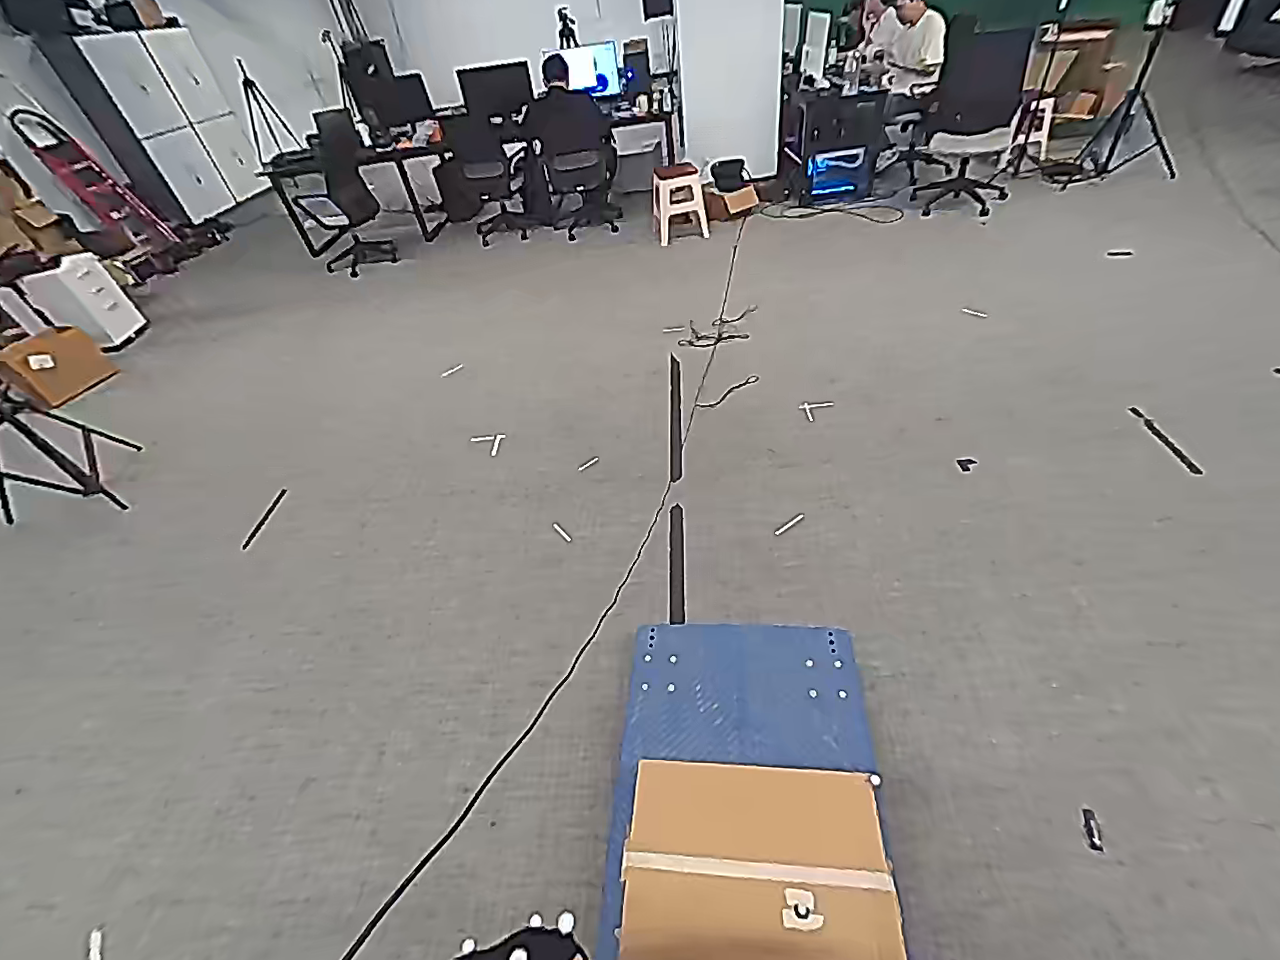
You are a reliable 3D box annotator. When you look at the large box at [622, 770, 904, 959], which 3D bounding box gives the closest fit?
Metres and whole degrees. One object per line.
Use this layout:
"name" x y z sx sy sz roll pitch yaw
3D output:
"large box" 0.196 0.733 0.931 0.408 0.320 0.320 -1 42 9
